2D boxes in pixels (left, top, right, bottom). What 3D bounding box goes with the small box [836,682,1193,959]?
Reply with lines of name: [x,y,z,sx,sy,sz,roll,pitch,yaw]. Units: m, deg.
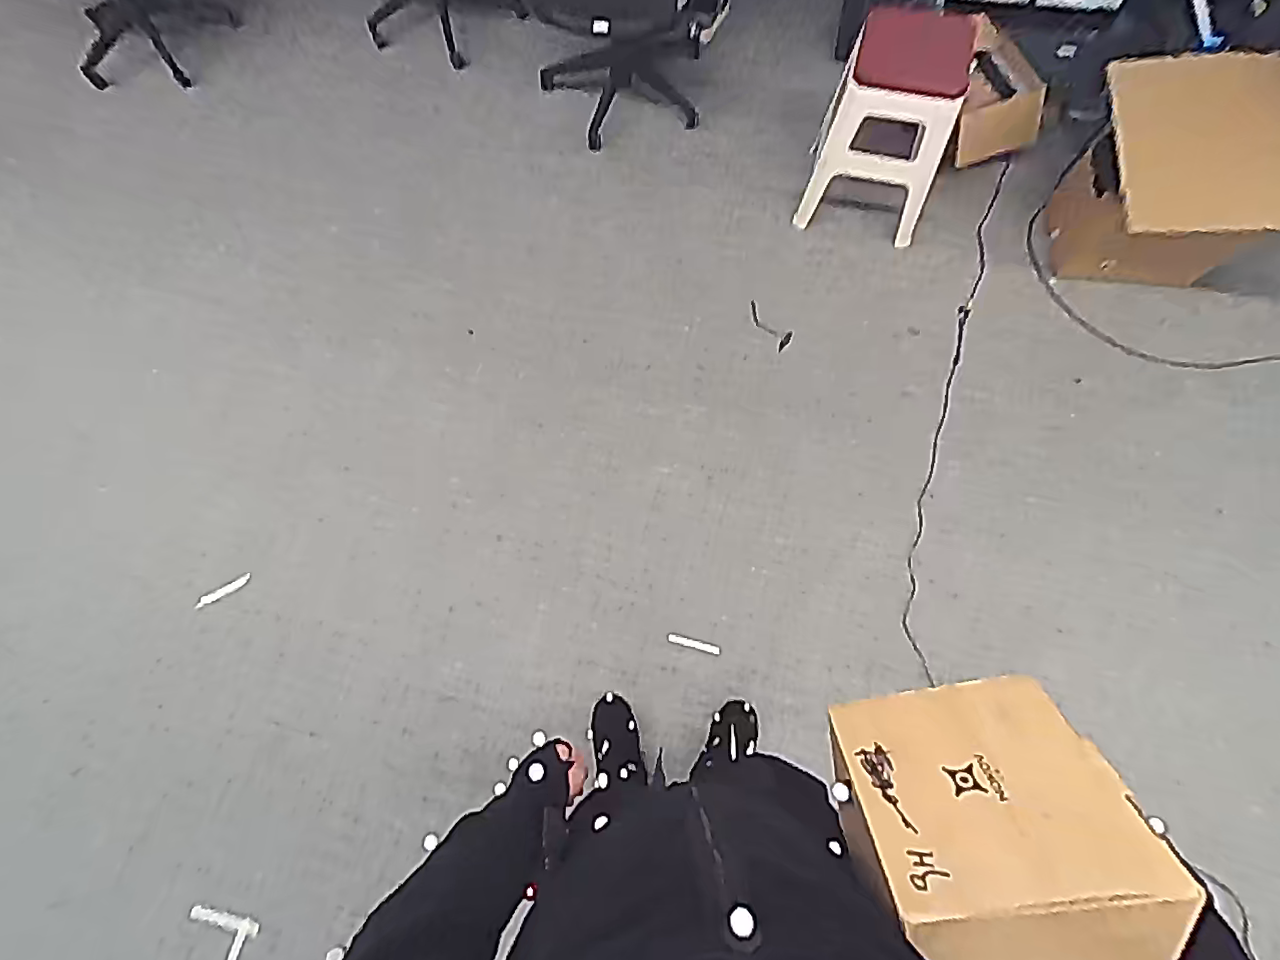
small box: [0.276,0.300,0.447,0.179,0.176,0.168,-12,26,7]
